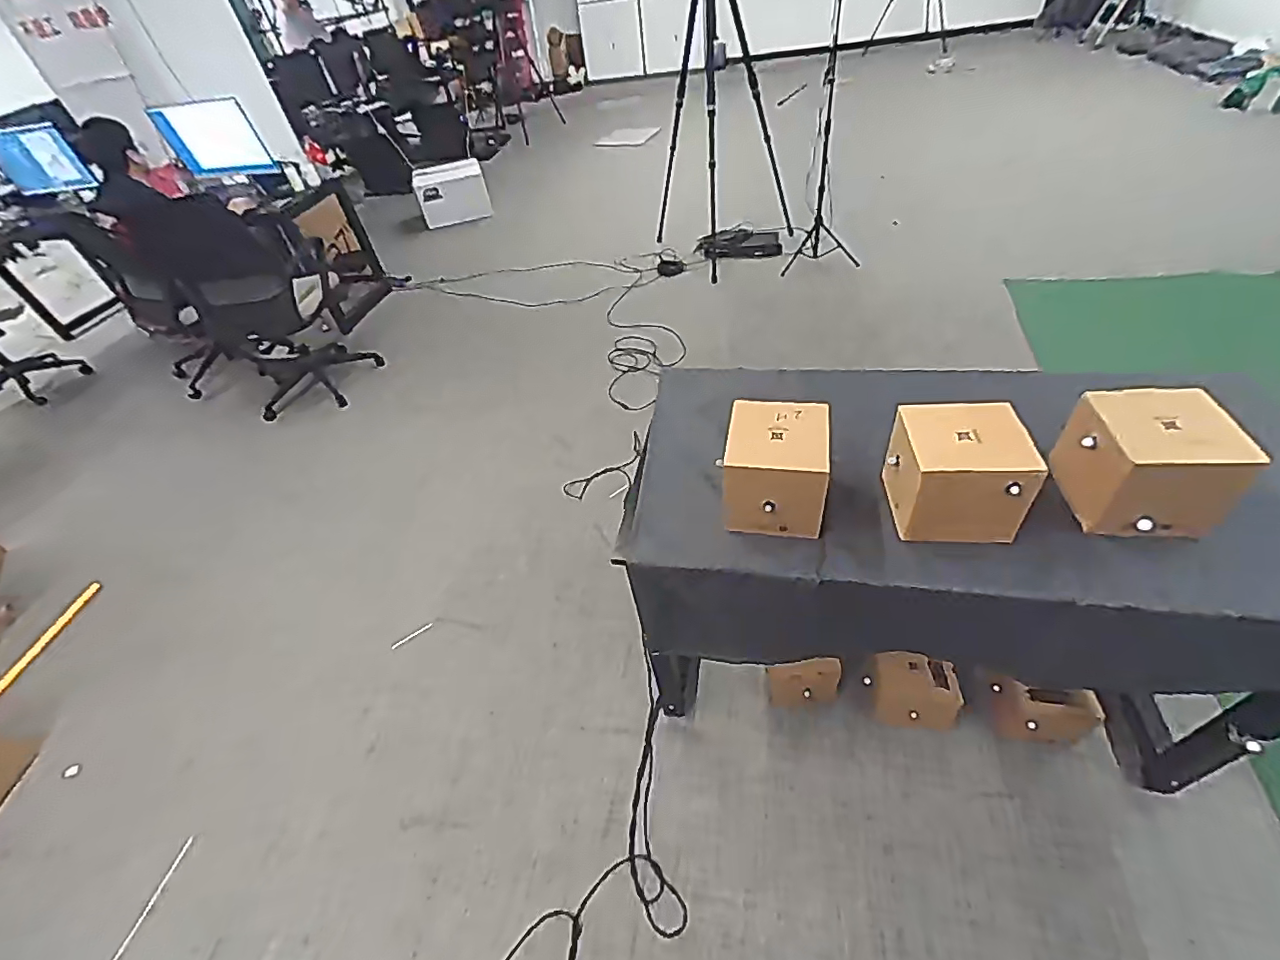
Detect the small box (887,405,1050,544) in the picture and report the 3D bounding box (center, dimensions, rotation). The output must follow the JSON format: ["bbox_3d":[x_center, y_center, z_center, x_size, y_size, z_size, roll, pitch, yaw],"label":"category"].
[{"bbox_3d":[0.525,-0.007,0.900,0.179,0.176,0.168,0,45,10],"label":"small box"}]

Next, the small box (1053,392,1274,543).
[{"bbox_3d":[0.805,-0.022,0.862,0.168,0.176,0.179,1,46,12],"label":"small box"}]

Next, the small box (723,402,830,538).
[{"bbox_3d":[0.241,-0.017,0.956,0.168,0.176,0.179,5,47,14],"label":"small box"}]

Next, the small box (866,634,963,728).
[{"bbox_3d":[0.689,0.516,1.380,0.179,0.176,0.168,1,46,13],"label":"small box"}]
